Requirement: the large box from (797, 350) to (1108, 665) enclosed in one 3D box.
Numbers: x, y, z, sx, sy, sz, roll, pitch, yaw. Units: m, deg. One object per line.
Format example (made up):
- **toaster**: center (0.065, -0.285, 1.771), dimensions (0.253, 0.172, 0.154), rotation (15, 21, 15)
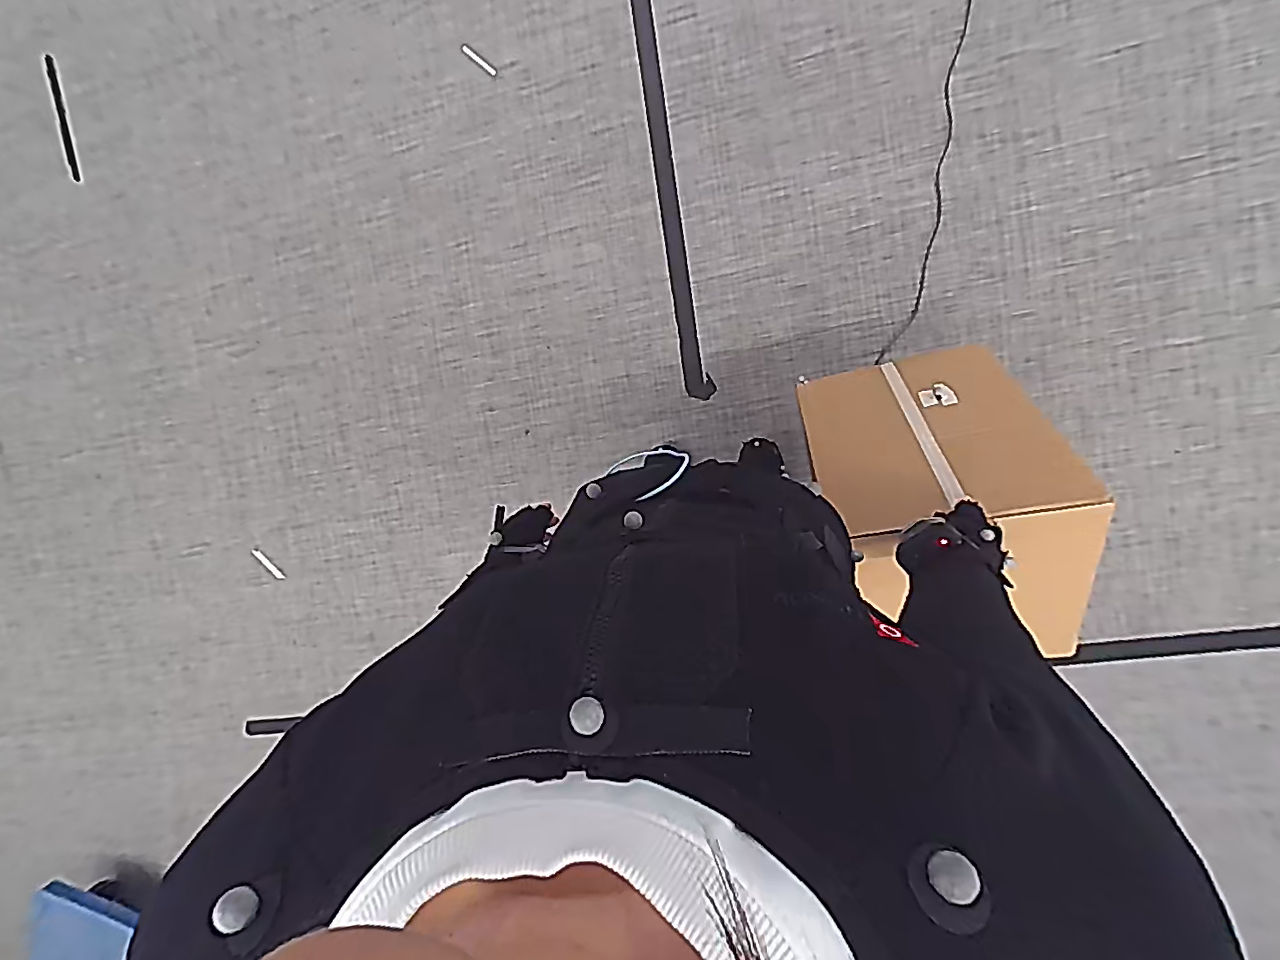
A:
- **large box**: center (0.467, 0.039, 0.904), dimensions (0.320, 0.408, 0.320), rotation (-10, 126, 15)
